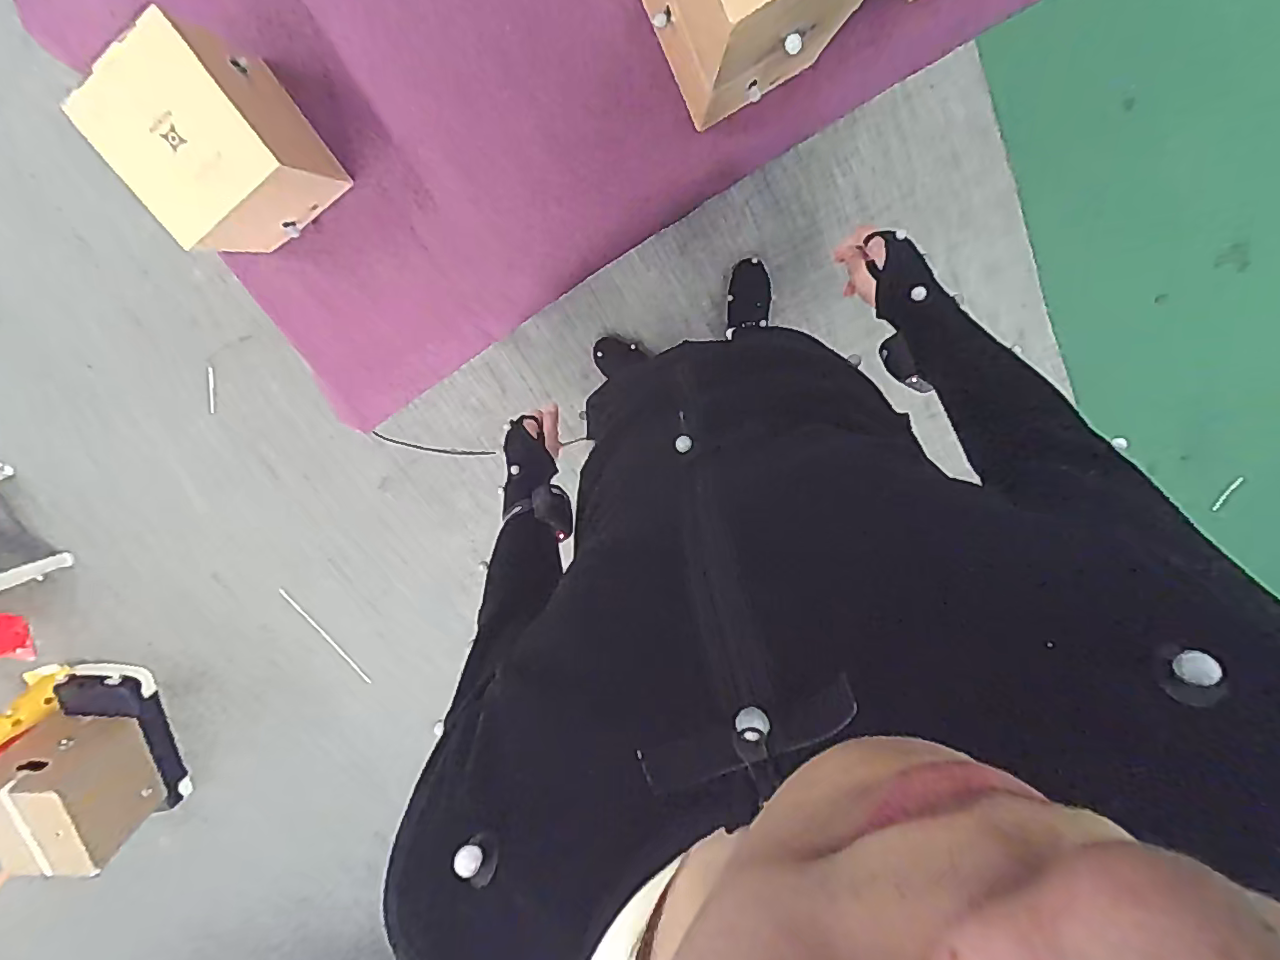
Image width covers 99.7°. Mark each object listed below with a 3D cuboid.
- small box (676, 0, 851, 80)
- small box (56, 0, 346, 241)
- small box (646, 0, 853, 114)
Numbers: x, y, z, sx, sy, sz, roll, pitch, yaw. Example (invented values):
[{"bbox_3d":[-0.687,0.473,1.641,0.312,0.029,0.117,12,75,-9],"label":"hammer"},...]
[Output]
[{"bbox_3d":[0.101,-0.483,0.443,0.168,0.176,0.179,-25,109,12],"label":"small box"},{"bbox_3d":[-0.514,-0.415,0.663,0.168,0.176,0.179,-30,109,13],"label":"small box"},{"bbox_3d":[0.106,-0.541,0.596,0.168,0.176,0.179,-25,108,11],"label":"small box"}]
